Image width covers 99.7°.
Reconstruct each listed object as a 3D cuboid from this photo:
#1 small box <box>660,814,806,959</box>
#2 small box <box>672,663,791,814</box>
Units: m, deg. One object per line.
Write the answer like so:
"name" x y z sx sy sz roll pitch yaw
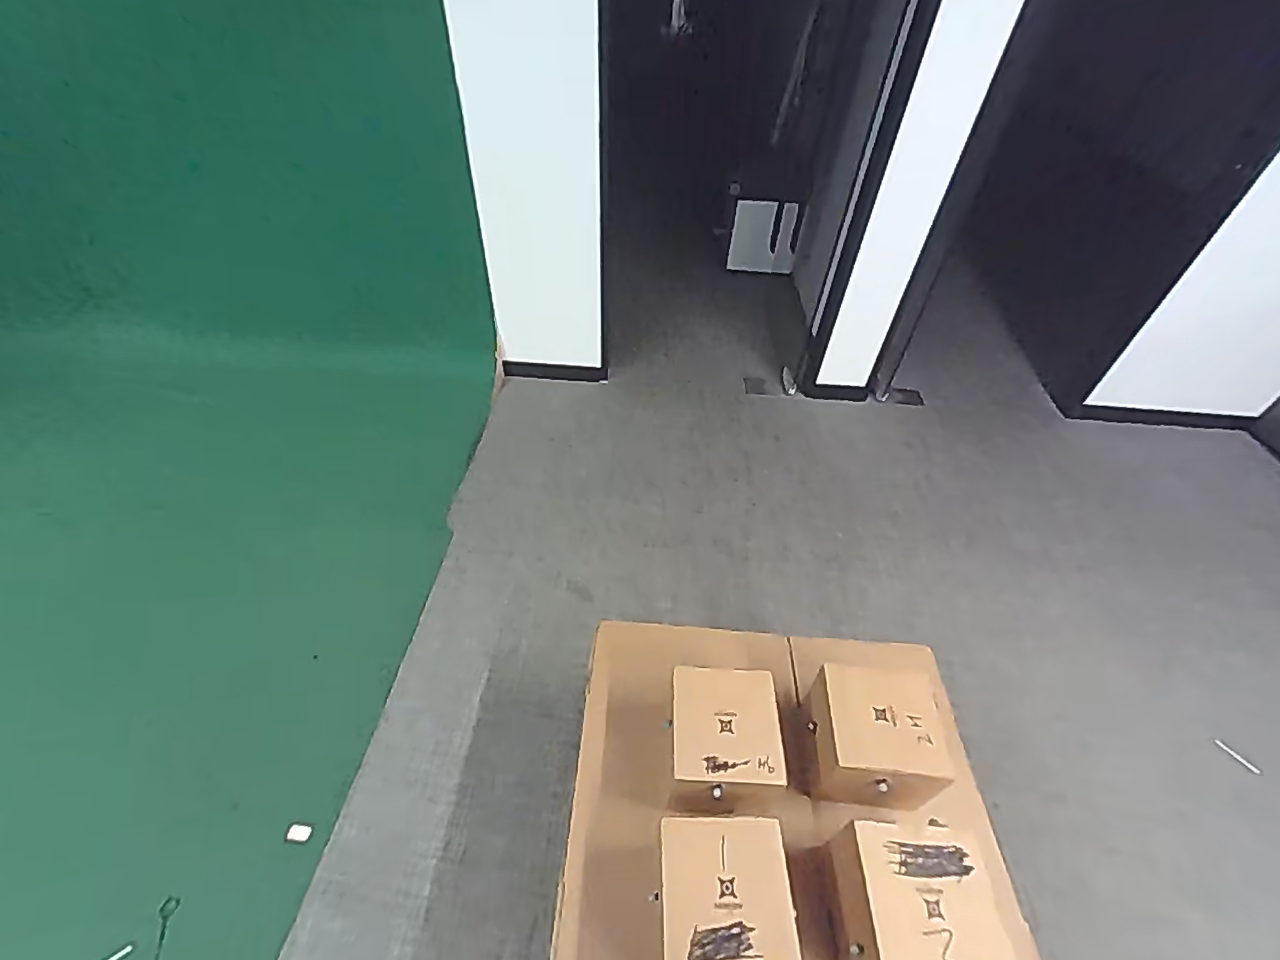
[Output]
"small box" 0.115 0.577 0.738 0.168 0.176 0.179 0 45 -2
"small box" 0.138 0.425 0.889 0.168 0.176 0.179 1 44 2
